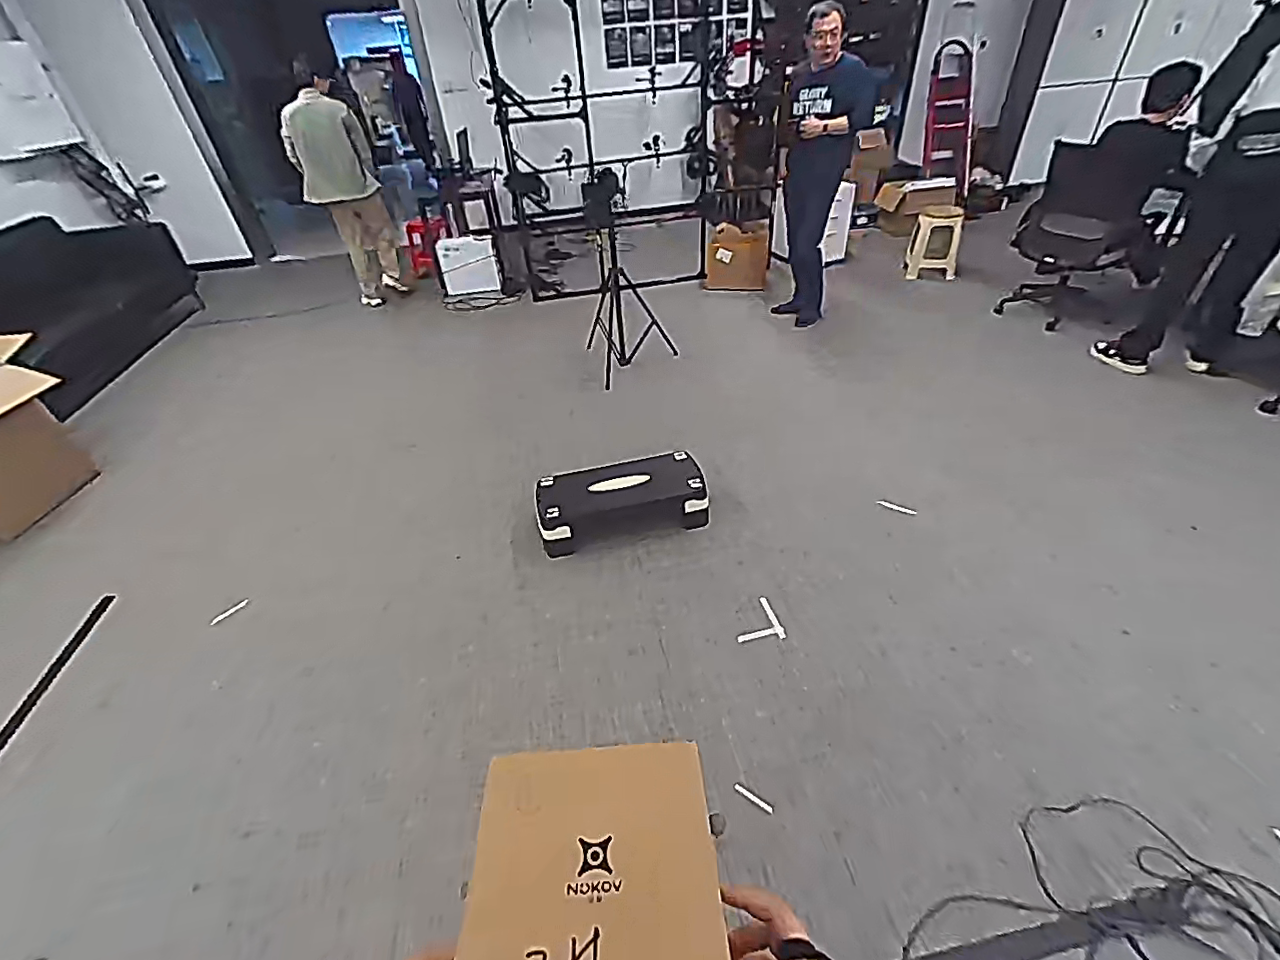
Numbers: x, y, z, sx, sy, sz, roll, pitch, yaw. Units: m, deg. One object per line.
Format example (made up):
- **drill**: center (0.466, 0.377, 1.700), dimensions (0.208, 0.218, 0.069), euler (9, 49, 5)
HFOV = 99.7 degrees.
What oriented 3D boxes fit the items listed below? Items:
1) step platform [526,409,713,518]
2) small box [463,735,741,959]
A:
- **step platform**: center (-0.074, -0.065, 2.052), dimensions (0.684, 0.204, 0.286), euler (-11, 38, -8)
- **small box**: center (-0.024, 0.322, 0.403), dimensions (0.168, 0.176, 0.179), euler (-3, 32, -2)
